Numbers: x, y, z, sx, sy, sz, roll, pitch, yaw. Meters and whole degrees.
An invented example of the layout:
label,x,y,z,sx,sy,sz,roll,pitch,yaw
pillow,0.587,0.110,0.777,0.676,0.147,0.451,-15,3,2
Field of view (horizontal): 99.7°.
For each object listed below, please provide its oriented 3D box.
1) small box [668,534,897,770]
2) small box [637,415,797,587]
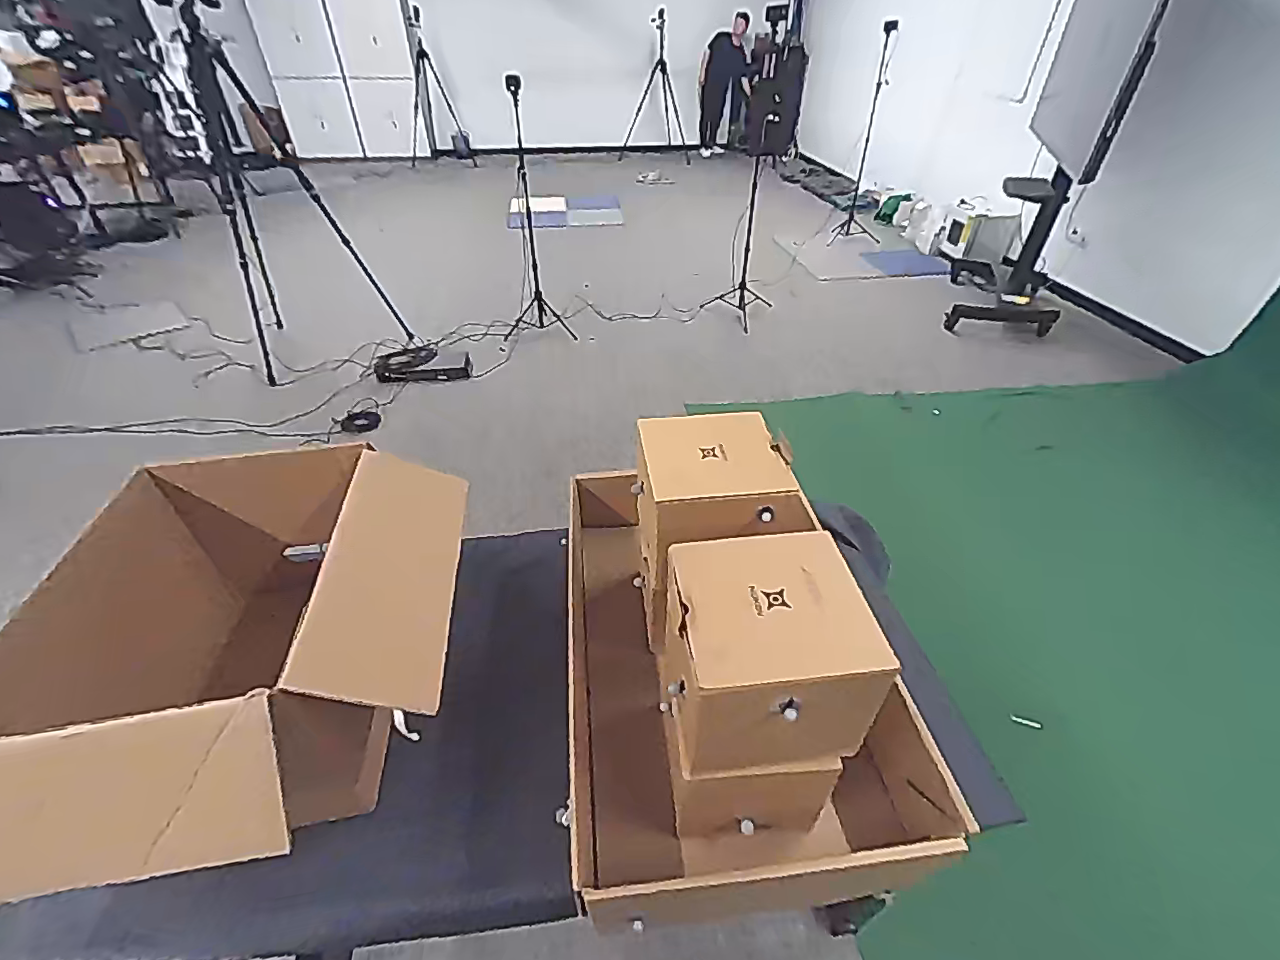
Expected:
label,x,y,z,sx,sy,sz,roll,pitch,yaw
small box,0.126,0.178,0.560,0.179,0.176,0.168,-4,40,-5
small box,0.092,0.031,0.738,0.179,0.176,0.168,-4,42,-6
